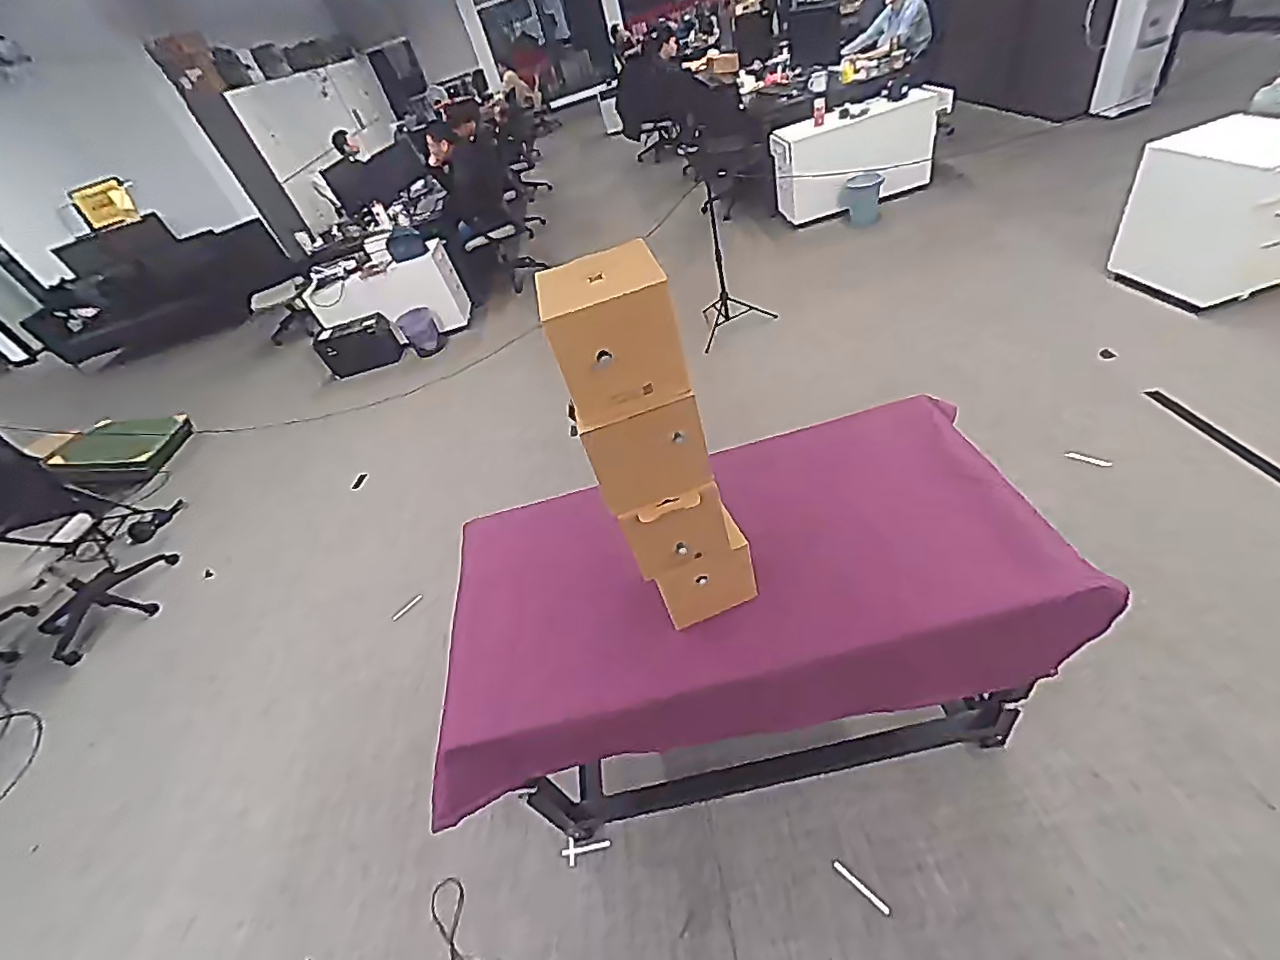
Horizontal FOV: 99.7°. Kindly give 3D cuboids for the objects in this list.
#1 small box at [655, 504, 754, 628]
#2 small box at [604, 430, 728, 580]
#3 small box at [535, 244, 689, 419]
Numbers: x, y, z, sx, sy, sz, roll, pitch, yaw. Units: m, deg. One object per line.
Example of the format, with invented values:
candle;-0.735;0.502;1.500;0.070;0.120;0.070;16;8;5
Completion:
small box;0.109;0.161;1.066;0.179;0.176;0.168;-22;41;-4
small box;0.046;0.046;0.965;0.168;0.176;0.179;-19;41;1
small box;-0.039;-0.205;0.771;0.168;0.176;0.179;-18;40;1
